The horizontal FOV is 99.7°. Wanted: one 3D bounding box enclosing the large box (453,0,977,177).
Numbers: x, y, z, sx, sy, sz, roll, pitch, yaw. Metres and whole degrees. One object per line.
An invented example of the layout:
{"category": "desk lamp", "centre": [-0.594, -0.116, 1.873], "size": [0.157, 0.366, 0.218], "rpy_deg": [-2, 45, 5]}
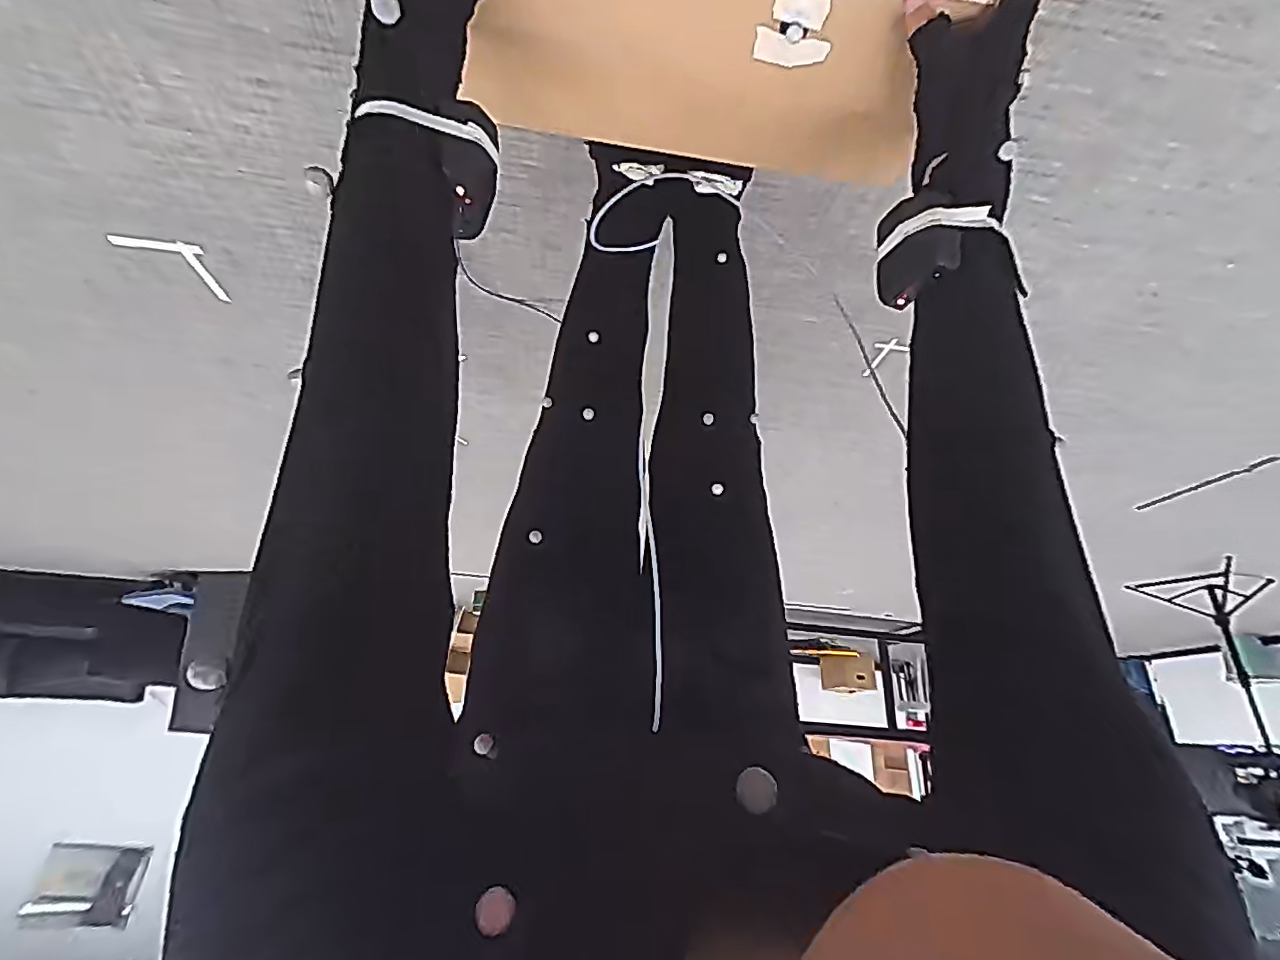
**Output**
{"category": "large box", "centre": [0.064, -0.515, 0.450], "size": [0.408, 0.320, 0.320], "rpy_deg": [6, 152, -5]}
